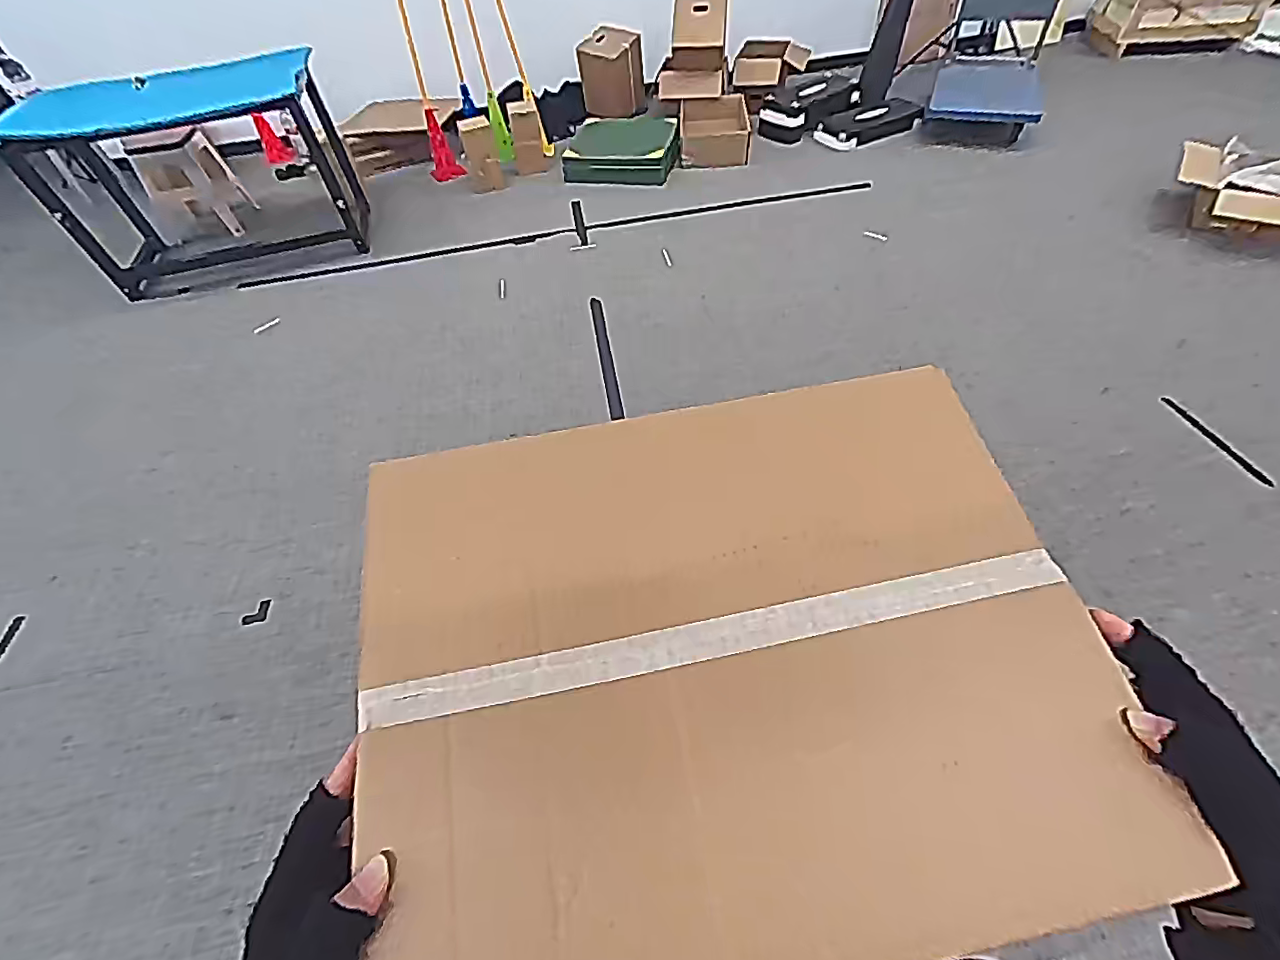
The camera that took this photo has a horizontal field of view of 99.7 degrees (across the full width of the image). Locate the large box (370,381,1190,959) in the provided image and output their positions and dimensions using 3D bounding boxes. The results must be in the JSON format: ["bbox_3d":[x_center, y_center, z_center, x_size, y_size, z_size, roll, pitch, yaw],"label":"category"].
[{"bbox_3d":[0.052,0.164,0.446,0.408,0.320,0.320,-11,62,-3],"label":"large box"}]
